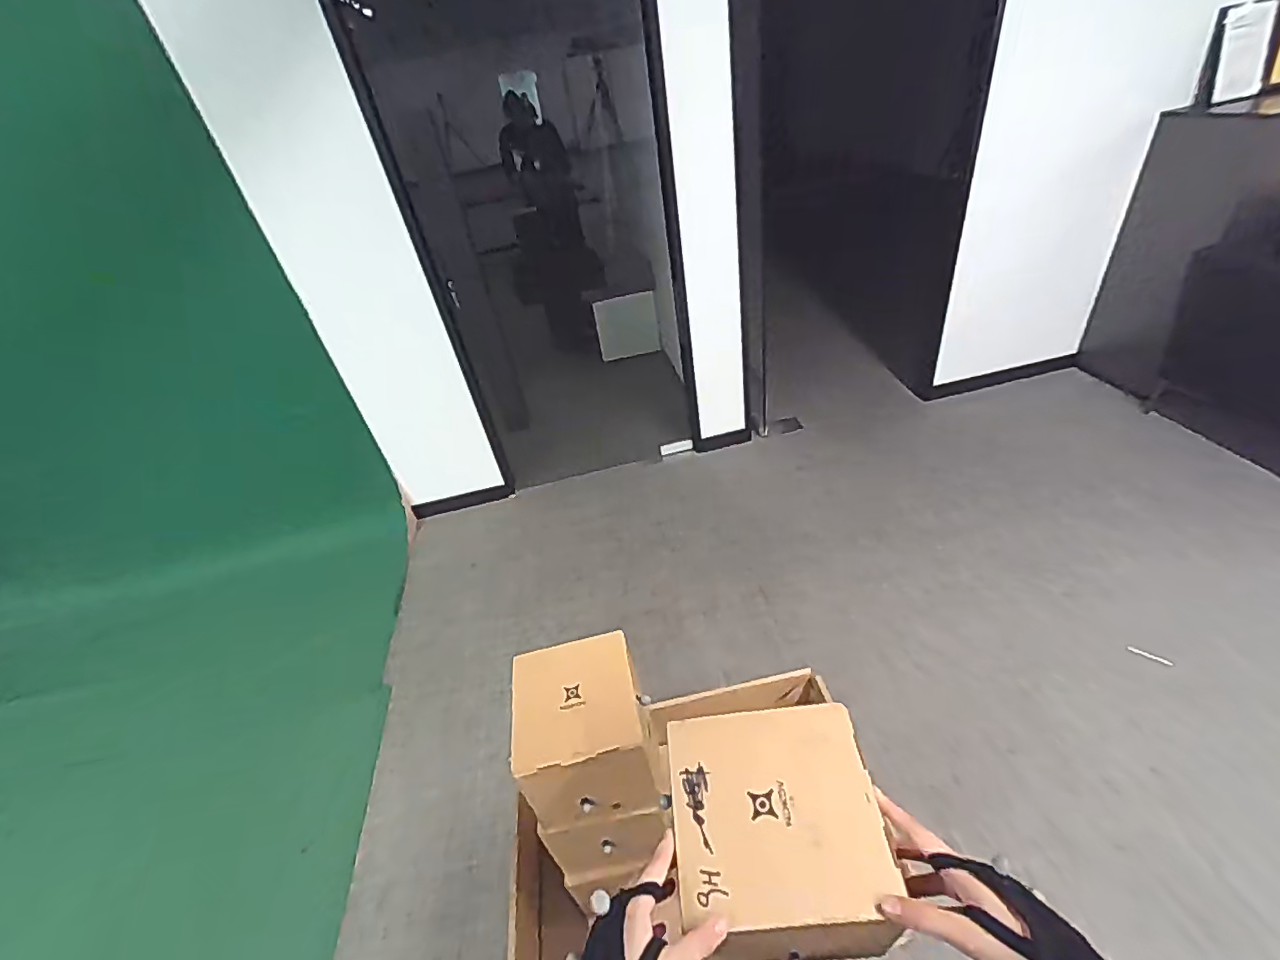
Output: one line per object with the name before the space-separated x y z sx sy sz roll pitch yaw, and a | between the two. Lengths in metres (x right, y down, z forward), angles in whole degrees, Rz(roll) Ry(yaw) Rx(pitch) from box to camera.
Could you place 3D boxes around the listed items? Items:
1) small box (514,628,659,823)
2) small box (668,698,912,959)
small box | -0.075 0.346 0.769 0.168 0.176 0.179 -13 37 -3
small box | 0.124 0.331 0.513 0.179 0.176 0.168 -7 39 4
